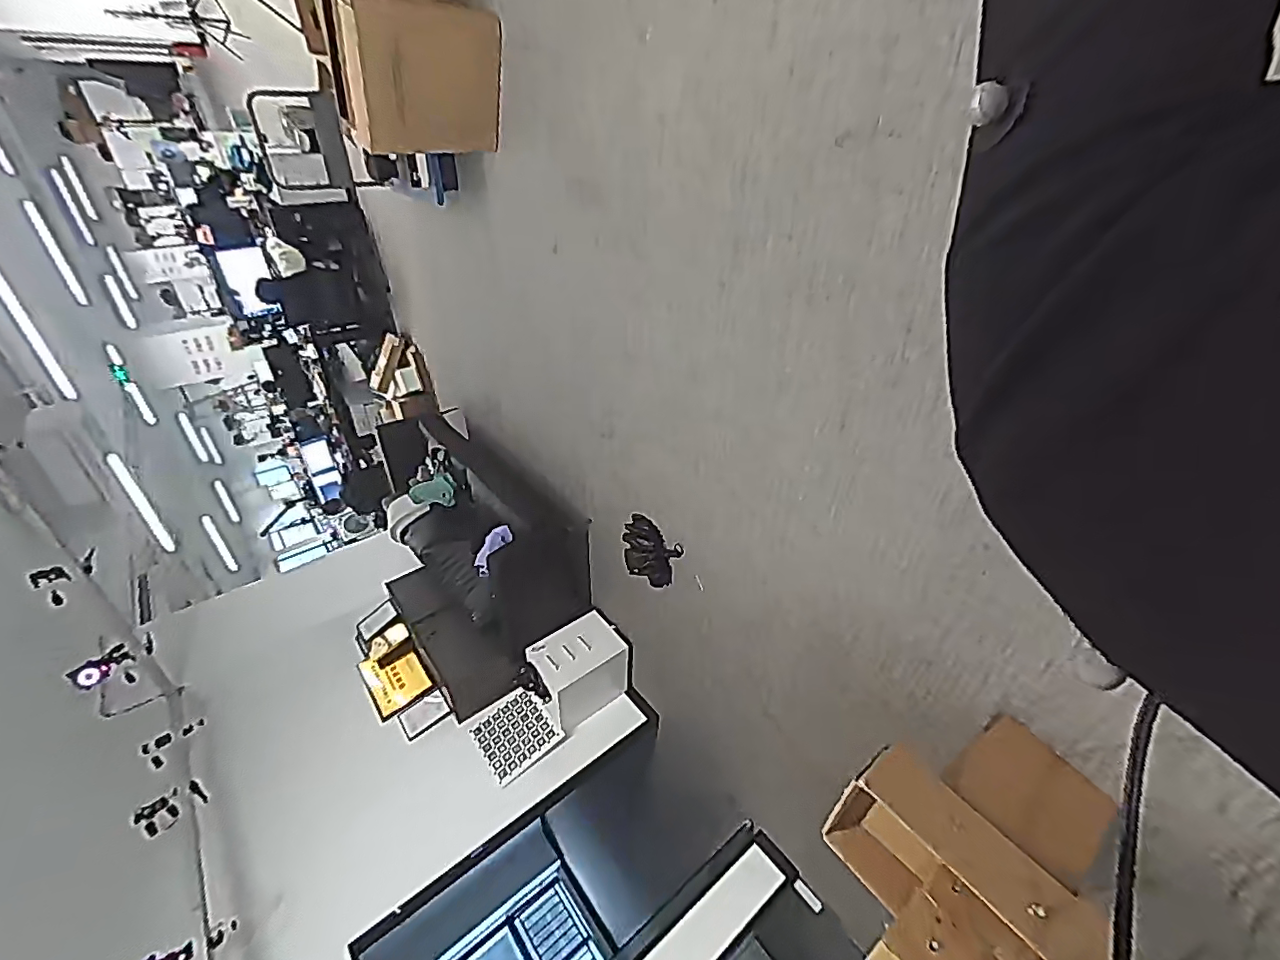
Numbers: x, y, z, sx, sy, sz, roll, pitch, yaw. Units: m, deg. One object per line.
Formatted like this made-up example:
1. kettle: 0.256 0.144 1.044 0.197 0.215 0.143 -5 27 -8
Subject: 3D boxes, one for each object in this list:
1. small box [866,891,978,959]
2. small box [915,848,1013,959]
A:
1. small box: 0.700 1.175 1.338 0.168 0.176 0.179 38 139 41
2. small box: 0.832 1.114 1.413 0.168 0.176 0.179 40 143 39
